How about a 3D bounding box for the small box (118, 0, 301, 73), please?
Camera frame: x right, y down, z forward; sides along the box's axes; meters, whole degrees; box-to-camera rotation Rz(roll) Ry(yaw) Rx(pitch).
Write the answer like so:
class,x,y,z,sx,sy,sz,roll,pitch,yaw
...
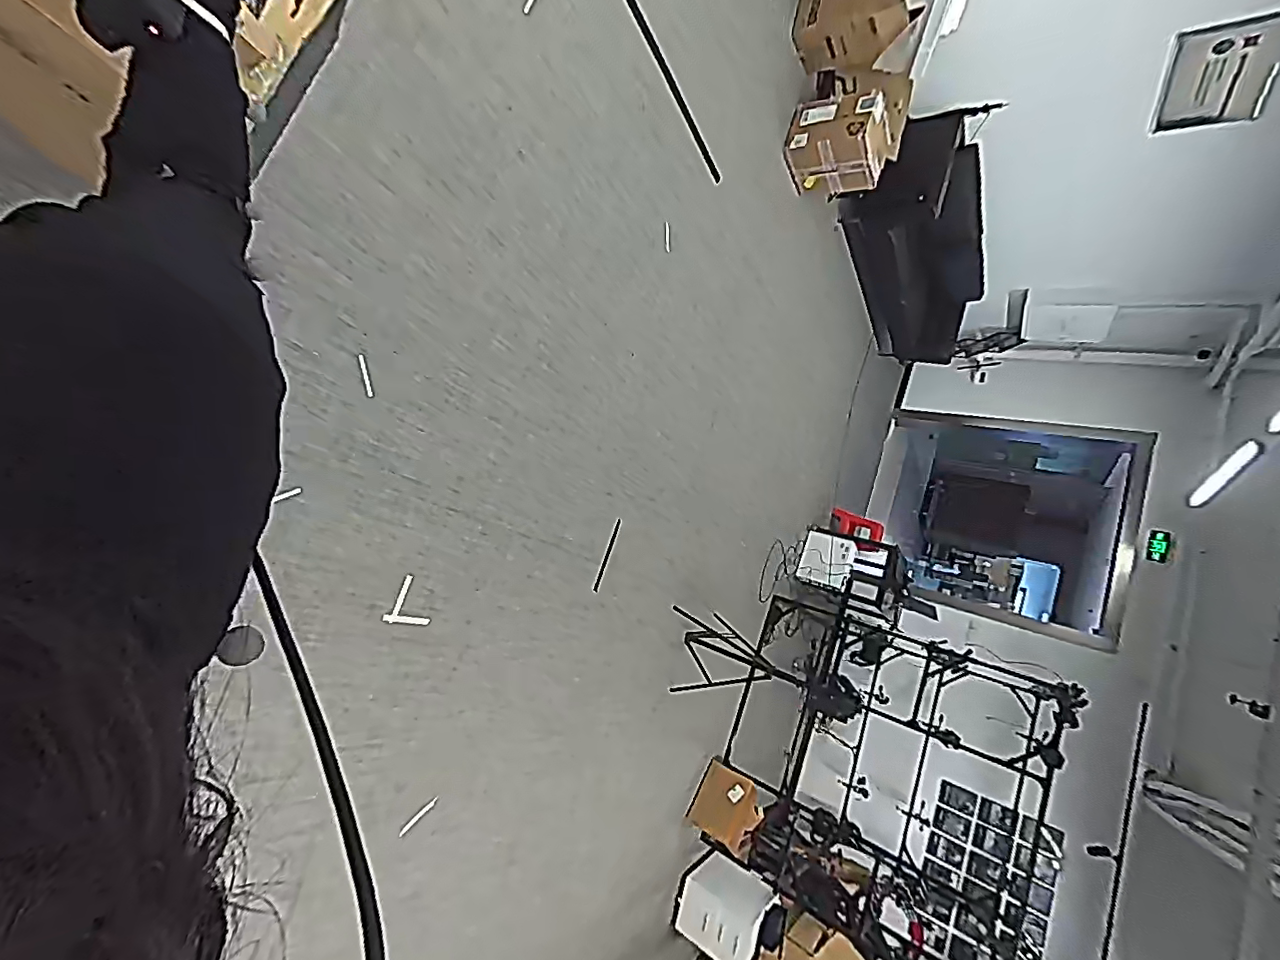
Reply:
class,x,y,z,sx,sy,sz,roll,pitch,yaw
small box,-0.493,-0.594,0.597,0.179,0.176,0.168,37,73,-50
